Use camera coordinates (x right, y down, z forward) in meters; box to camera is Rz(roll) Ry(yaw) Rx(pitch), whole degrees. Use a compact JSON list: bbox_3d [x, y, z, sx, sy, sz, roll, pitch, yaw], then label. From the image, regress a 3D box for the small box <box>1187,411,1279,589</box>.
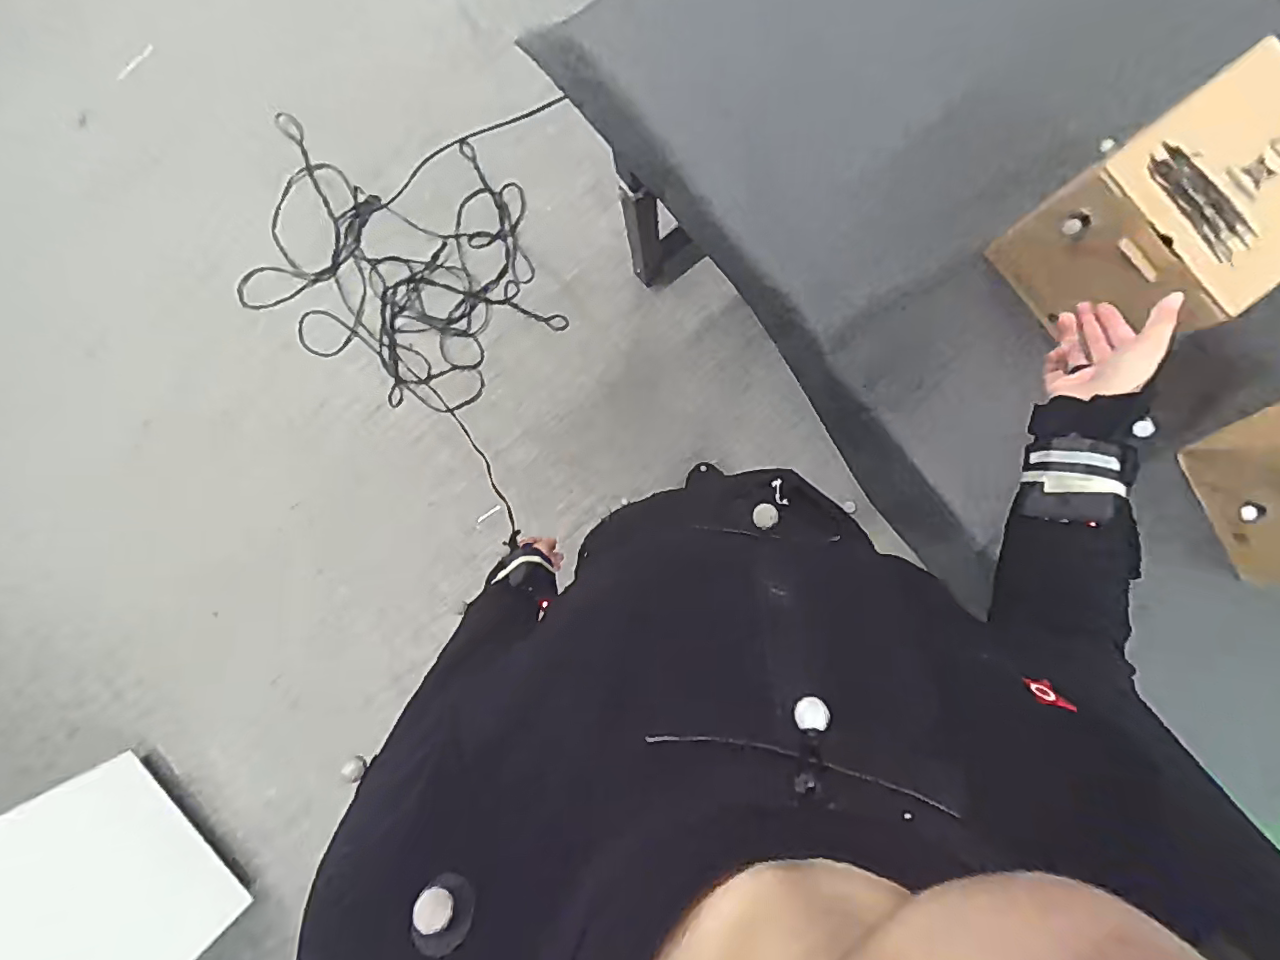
[{"bbox_3d":[0.710,0.008,0.517,0.179,0.176,0.168,-27,89,3],"label":"small box"}]
